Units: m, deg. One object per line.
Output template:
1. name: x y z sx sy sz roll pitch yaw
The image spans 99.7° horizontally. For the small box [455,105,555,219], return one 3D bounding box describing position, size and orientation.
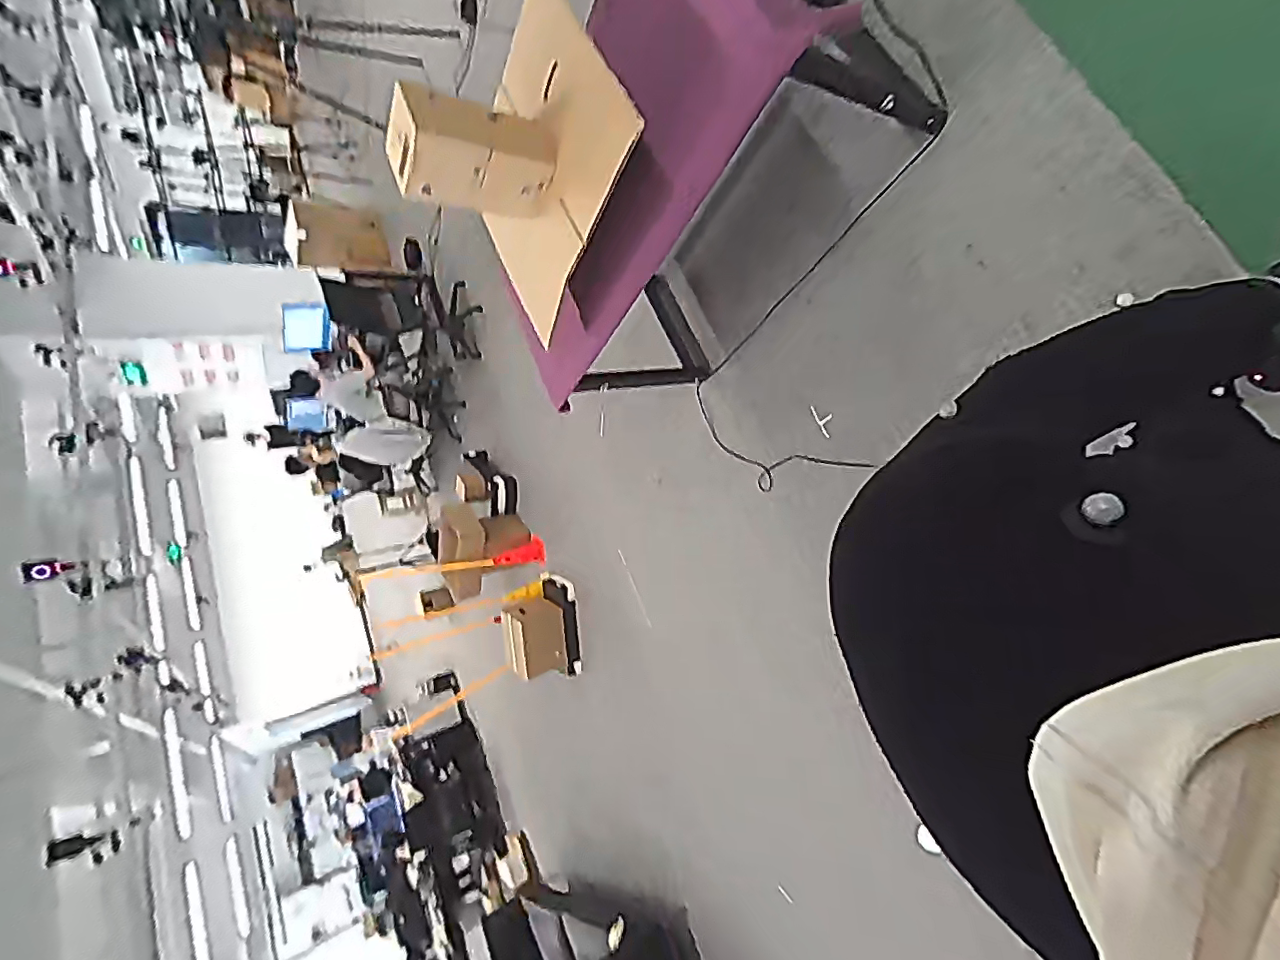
1. small box: -0.339 -0.785 1.356 0.168 0.176 0.179 -44 65 47
